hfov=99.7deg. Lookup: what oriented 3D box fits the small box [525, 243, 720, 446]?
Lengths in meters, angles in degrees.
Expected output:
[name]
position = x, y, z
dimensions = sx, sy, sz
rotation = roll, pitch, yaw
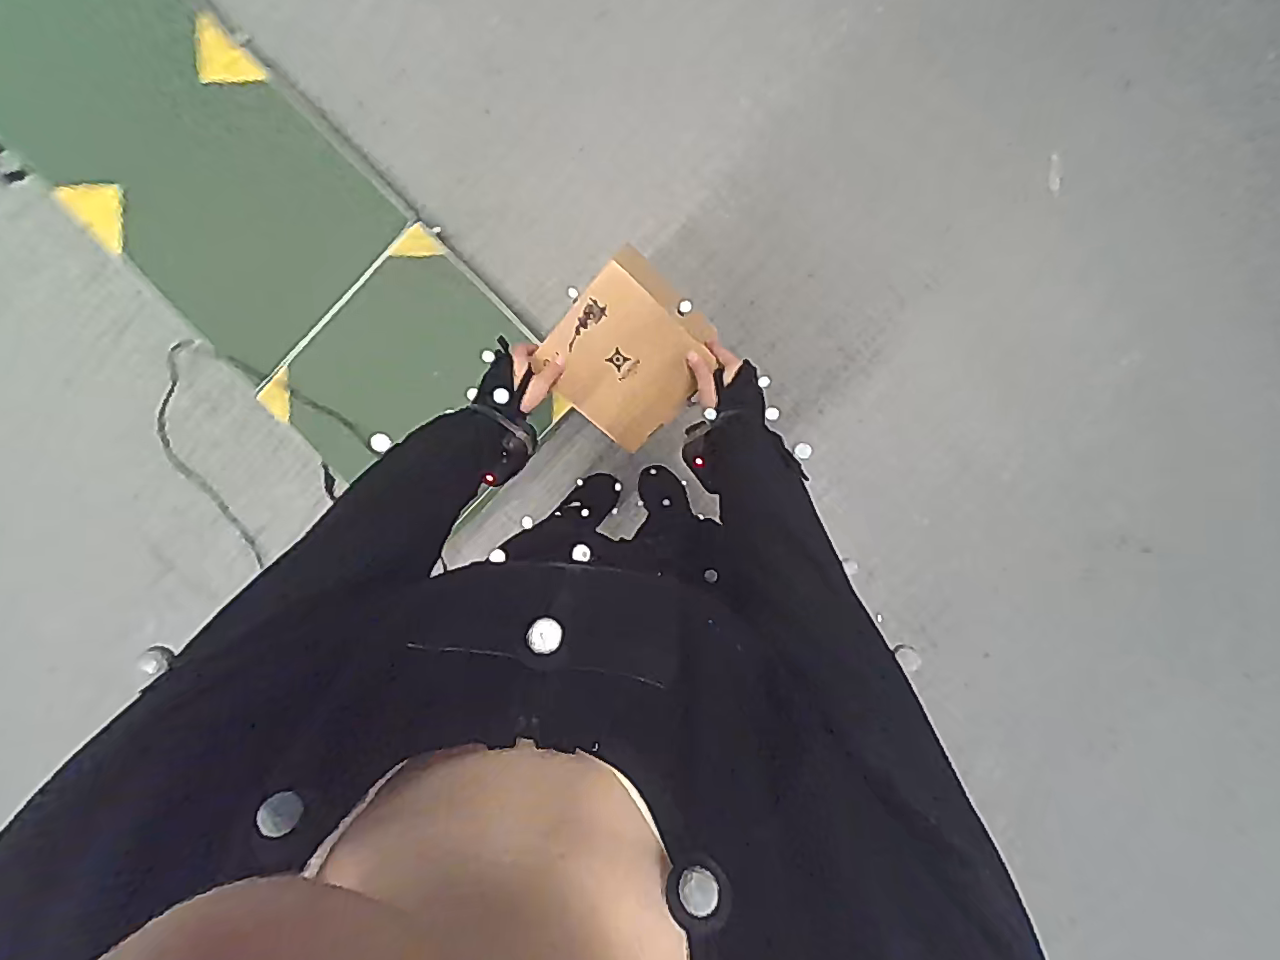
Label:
[small box]
position = -0.016, -0.183, 0.705
dimensions = 0.179, 0.176, 0.168
rotation = 39, 115, -17
